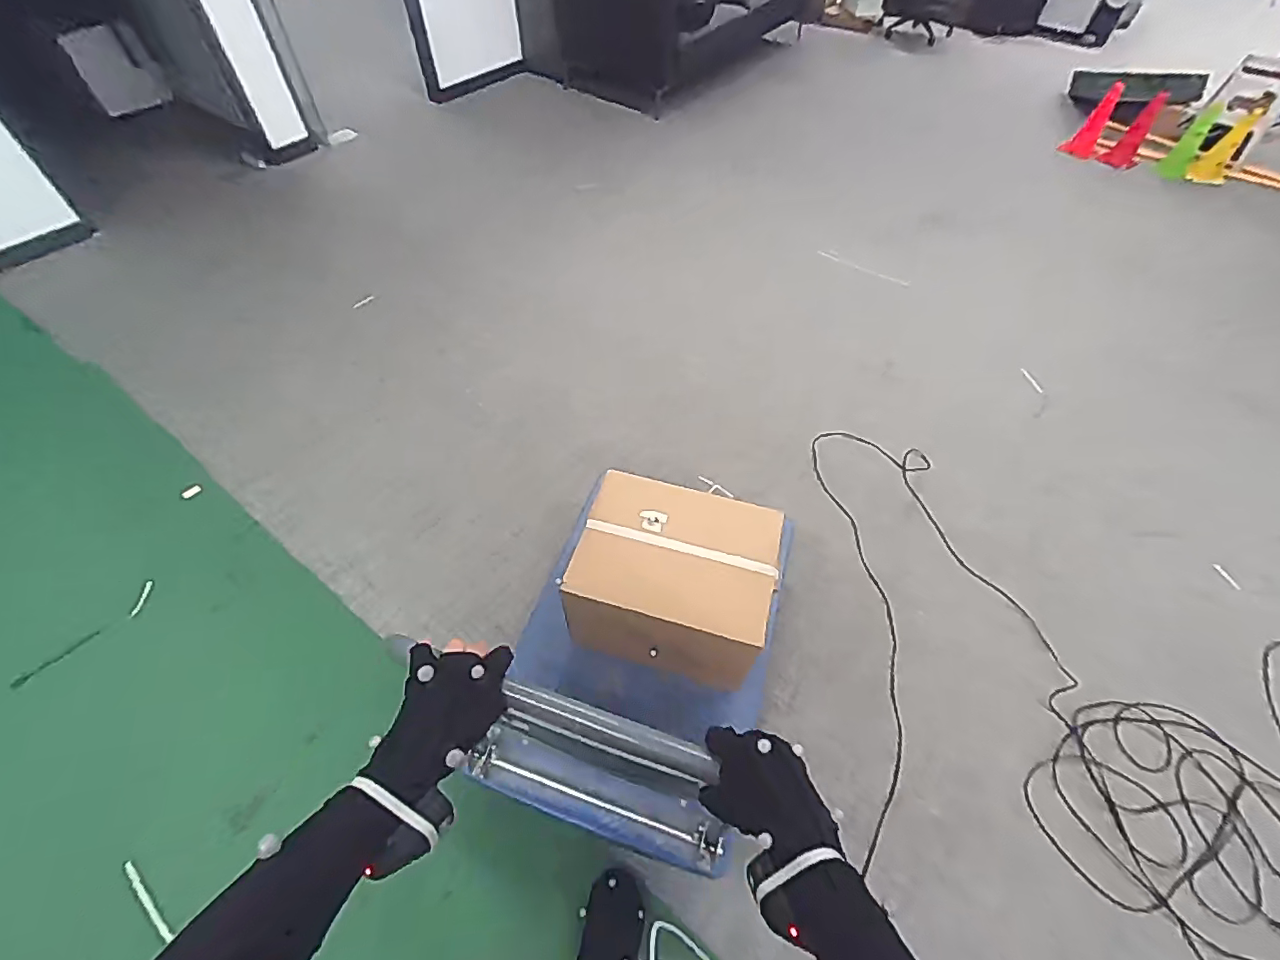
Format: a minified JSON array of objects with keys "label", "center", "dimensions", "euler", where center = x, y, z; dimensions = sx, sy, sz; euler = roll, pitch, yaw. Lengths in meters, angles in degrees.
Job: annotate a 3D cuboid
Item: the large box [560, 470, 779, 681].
[{"label":"large box","center":[0.073,0.224,1.239],"dimensions":[0.408,0.320,0.320],"euler":[14,54,9]}]
